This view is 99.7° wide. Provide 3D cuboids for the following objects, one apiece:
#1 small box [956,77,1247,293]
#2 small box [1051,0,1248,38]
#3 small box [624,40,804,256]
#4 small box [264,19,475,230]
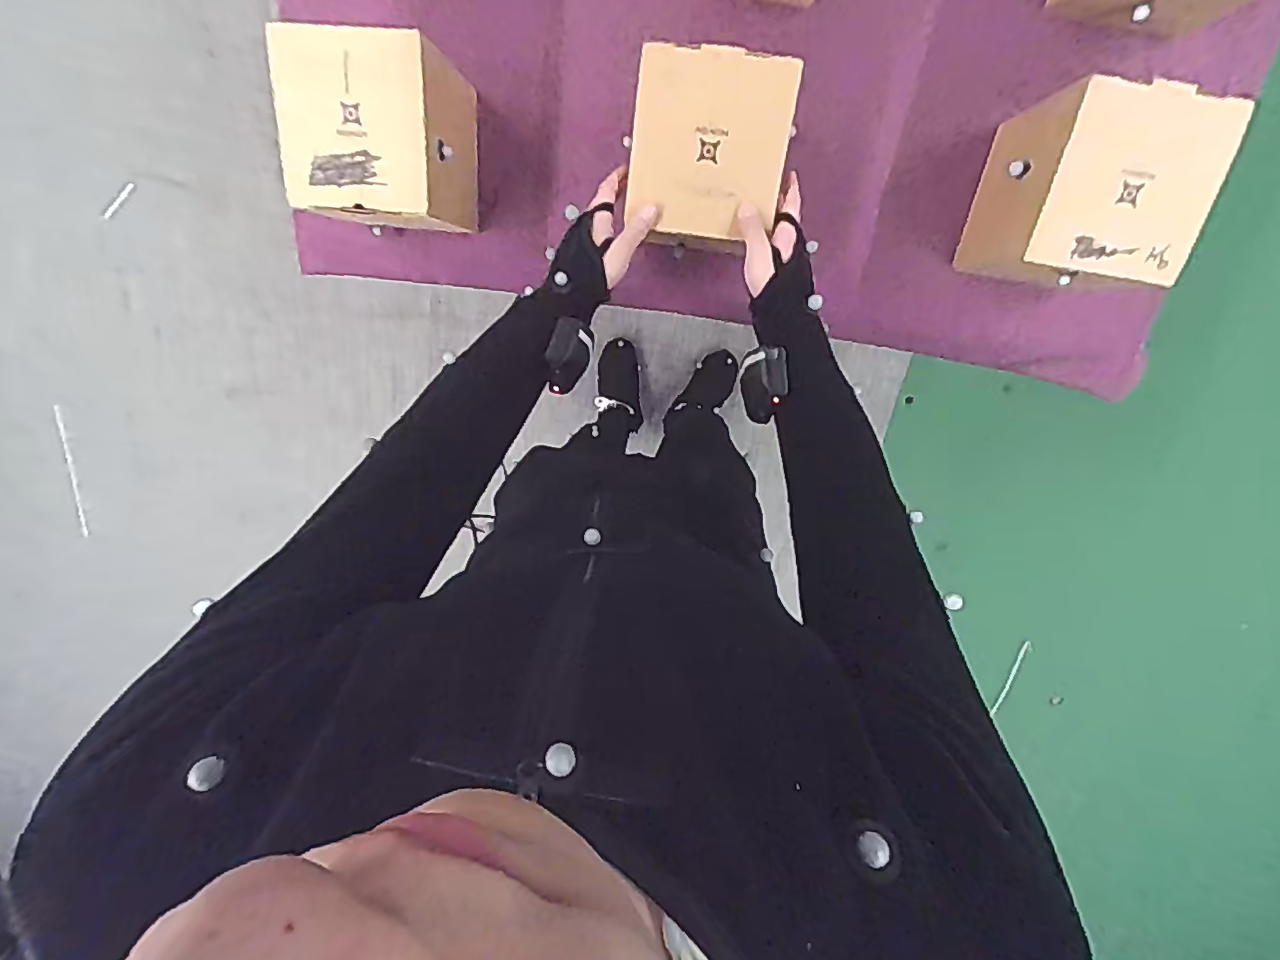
[{"bbox_3d":[0.511,-0.326,0.635,0.168,0.176,0.179,11,108,1],"label":"small box"},{"bbox_3d":[0.563,-0.589,0.535,0.168,0.176,0.179,11,111,2],"label":"small box"},{"bbox_3d":[0.078,-0.376,0.646,0.168,0.176,0.179,9,110,1],"label":"small box"},{"bbox_3d":[-0.306,-0.408,0.653,0.168,0.176,0.179,5,108,1],"label":"small box"}]
